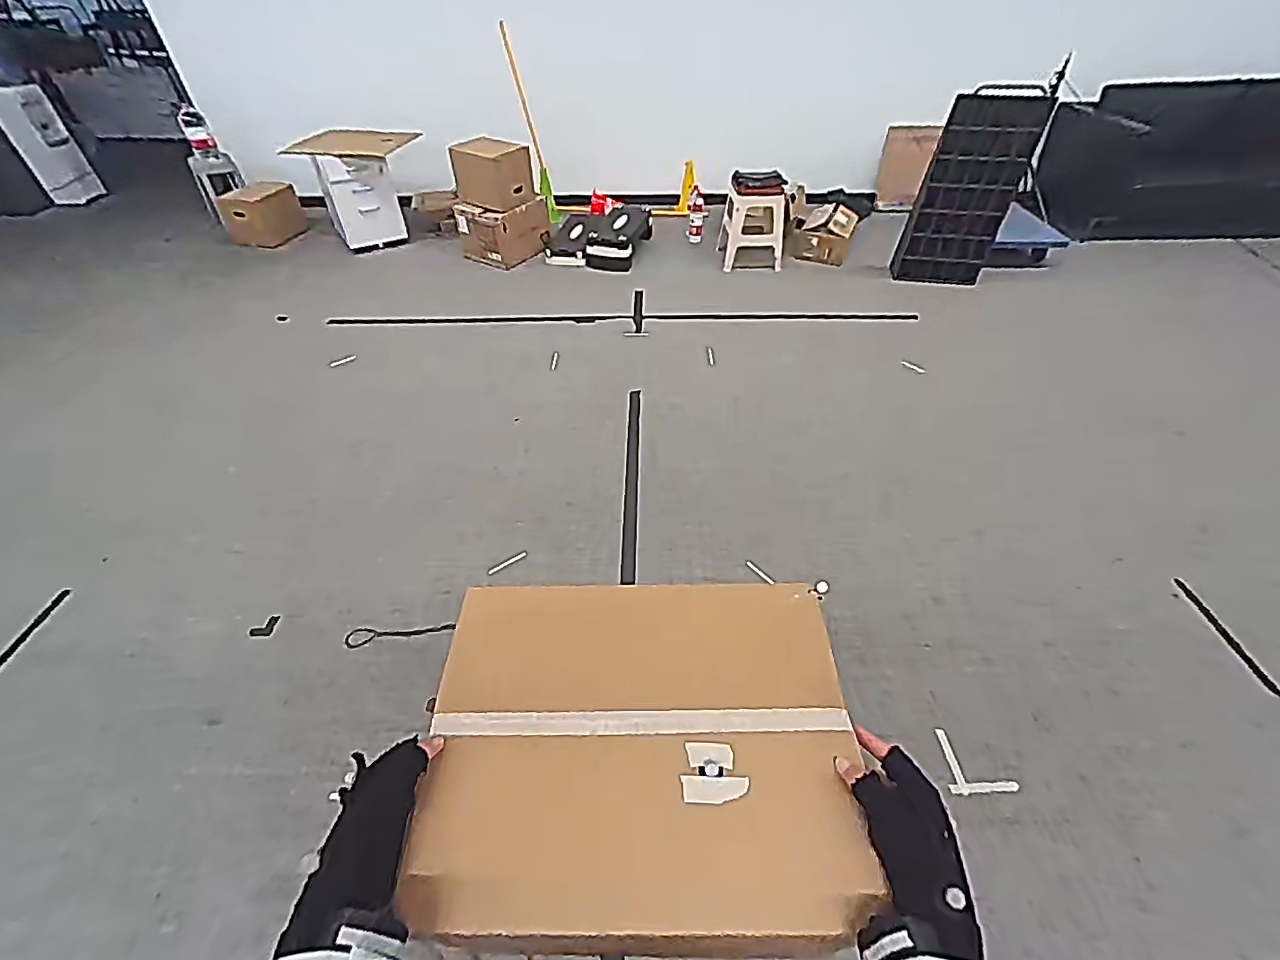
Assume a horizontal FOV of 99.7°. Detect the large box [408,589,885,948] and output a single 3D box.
[{"bbox_3d":[0.005,0.347,0.651,0.408,0.320,0.320,0,47,1],"label":"large box"}]
